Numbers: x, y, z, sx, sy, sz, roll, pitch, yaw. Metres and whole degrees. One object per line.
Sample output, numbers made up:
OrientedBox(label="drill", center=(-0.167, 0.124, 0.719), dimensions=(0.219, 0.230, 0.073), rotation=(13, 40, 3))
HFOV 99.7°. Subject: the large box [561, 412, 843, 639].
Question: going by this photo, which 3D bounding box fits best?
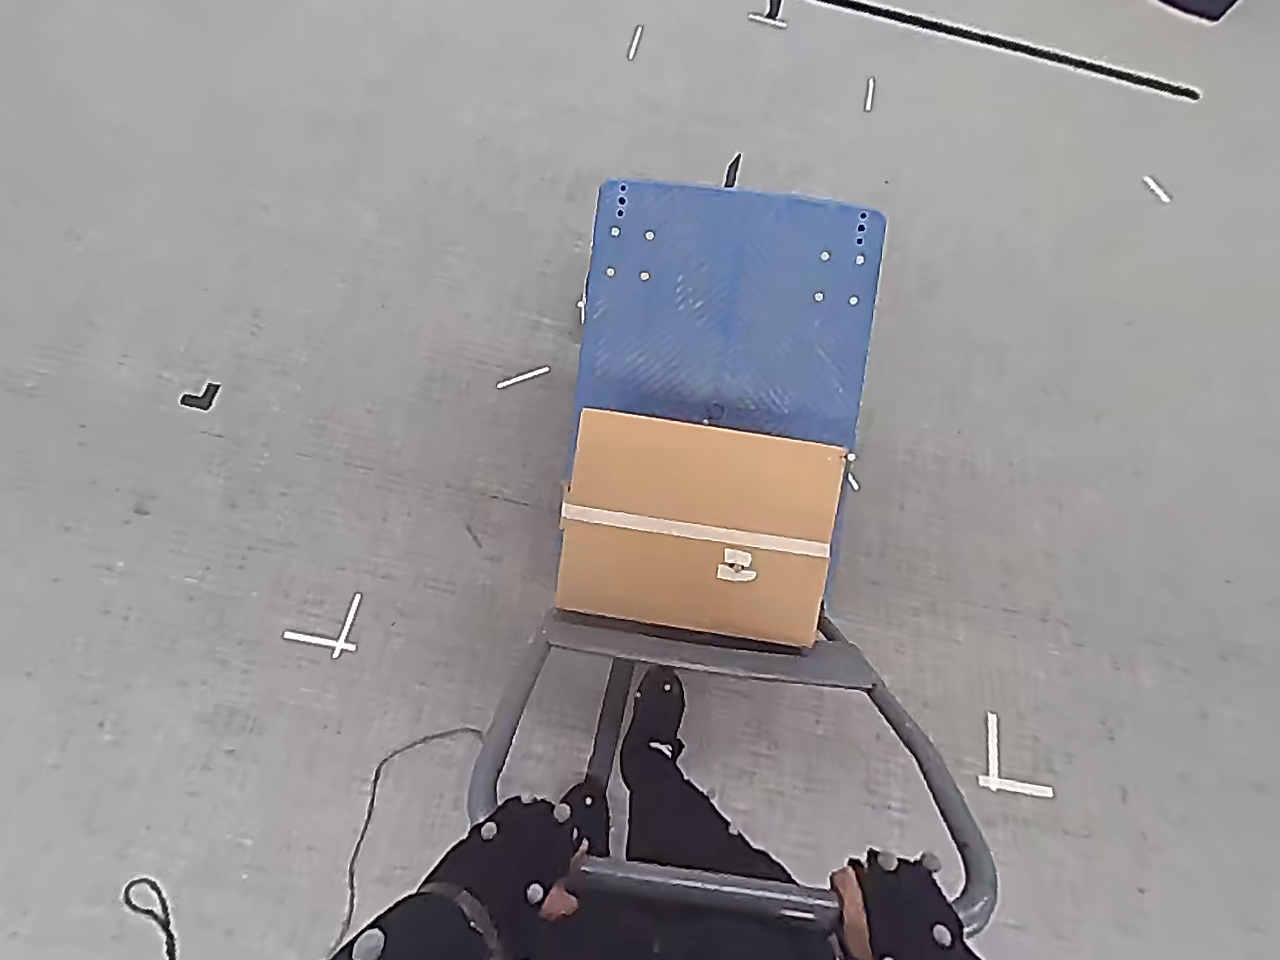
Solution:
OrientedBox(label="large box", center=(0.091, 0.062, 0.975), dimensions=(0.408, 0.320, 0.320), rotation=(8, 95, 0))
